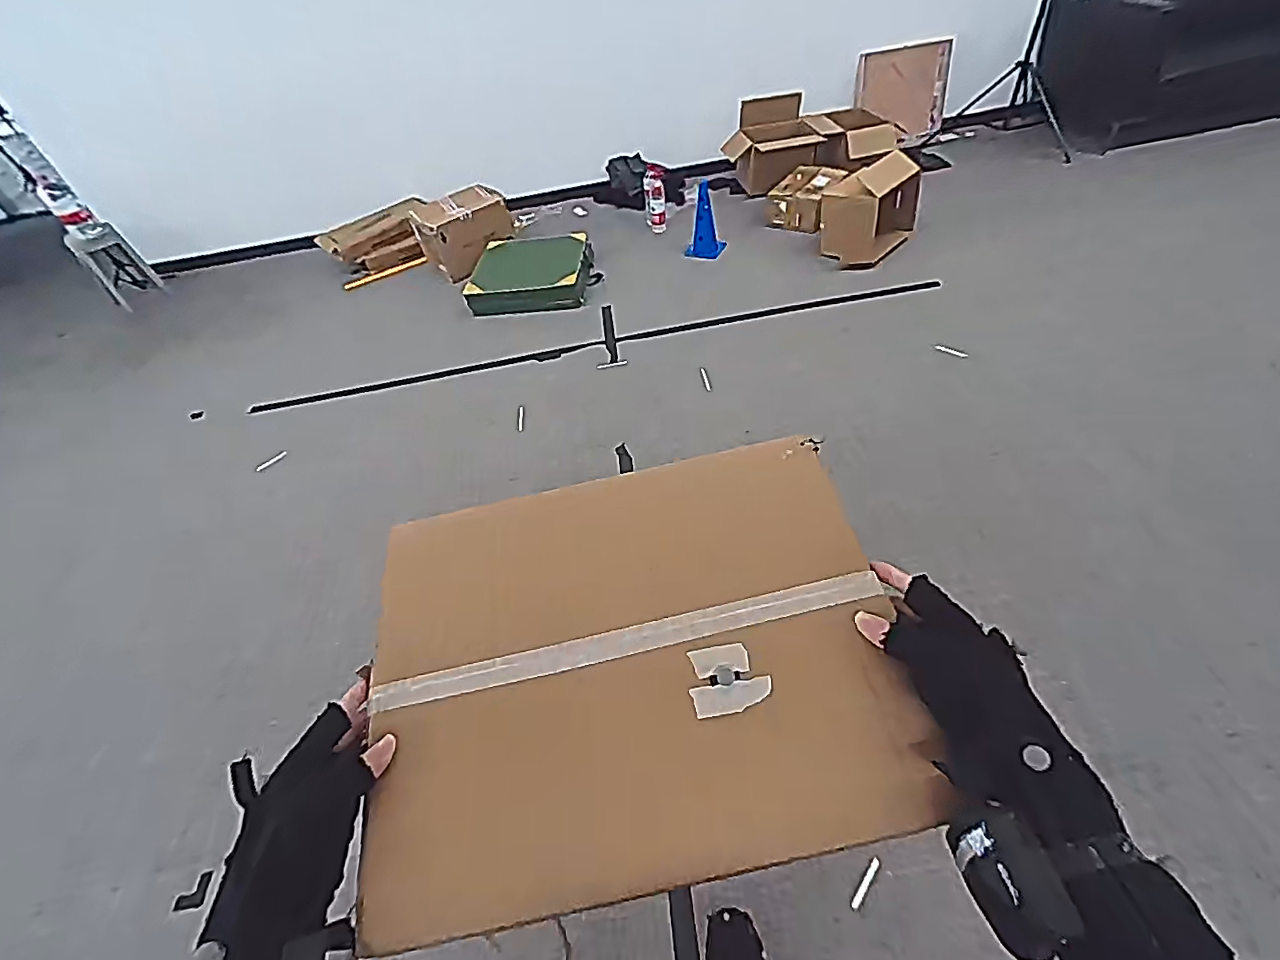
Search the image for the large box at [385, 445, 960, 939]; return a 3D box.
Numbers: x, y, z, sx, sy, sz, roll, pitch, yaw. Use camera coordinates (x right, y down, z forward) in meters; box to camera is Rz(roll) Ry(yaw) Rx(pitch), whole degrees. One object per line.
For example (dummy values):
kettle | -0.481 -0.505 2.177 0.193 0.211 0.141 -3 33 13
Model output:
large box | 0.011 0.214 0.562 0.408 0.320 0.320 -13 57 -1
